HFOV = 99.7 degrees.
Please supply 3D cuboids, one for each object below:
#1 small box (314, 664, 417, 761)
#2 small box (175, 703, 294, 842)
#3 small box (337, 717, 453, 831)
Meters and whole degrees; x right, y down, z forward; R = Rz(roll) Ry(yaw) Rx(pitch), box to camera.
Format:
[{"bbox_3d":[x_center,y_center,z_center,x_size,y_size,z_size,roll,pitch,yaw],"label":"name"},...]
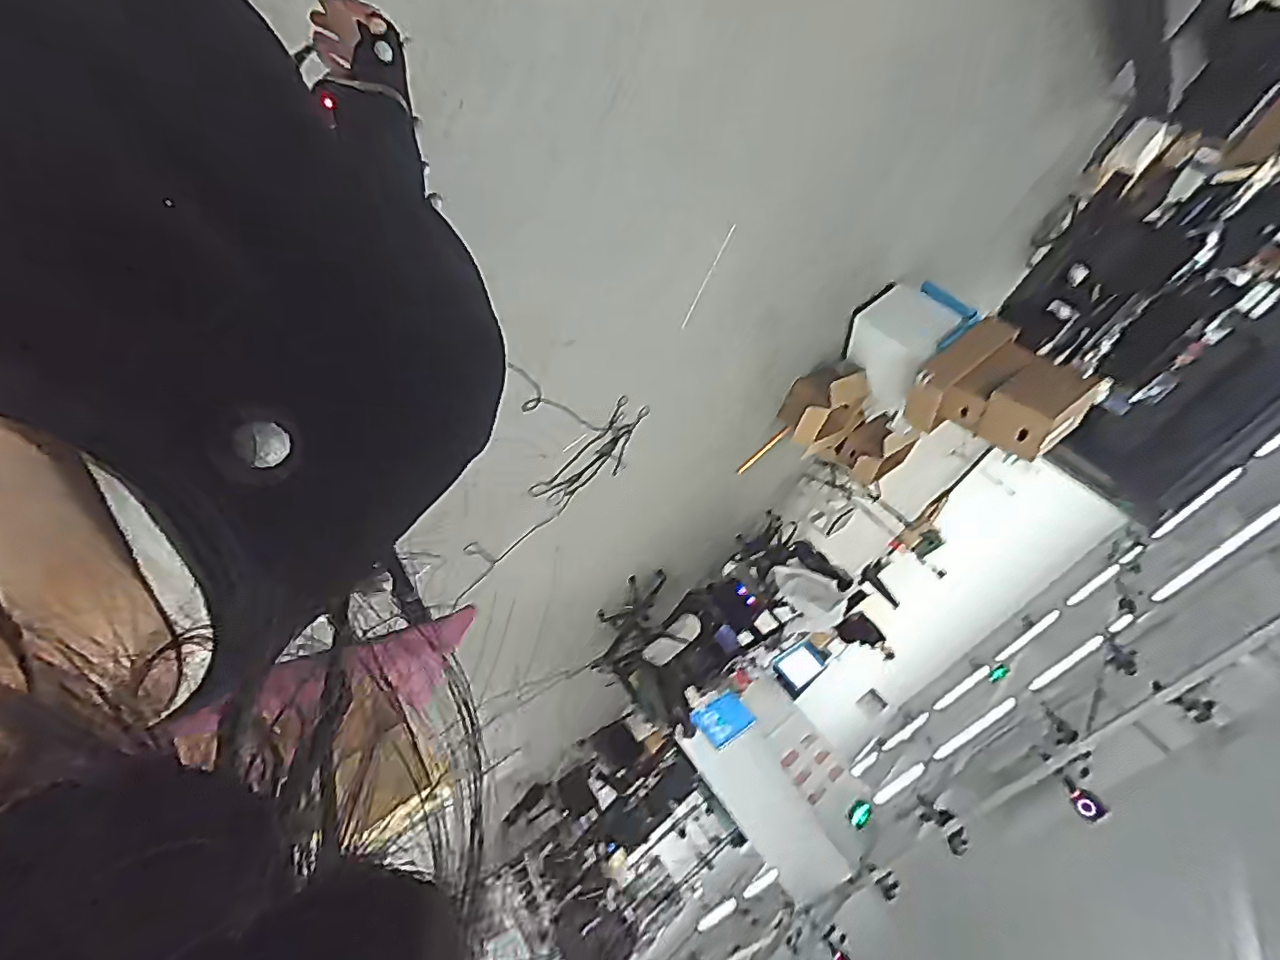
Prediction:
[{"bbox_3d":[-0.686,0.599,1.368,0.179,0.176,0.168,-26,148,-28],"label":"small box"},{"bbox_3d":[-0.872,0.616,1.158,0.168,0.176,0.179,-6,136,-50],"label":"small box"},{"bbox_3d":[-0.580,0.695,1.285,0.179,0.176,0.168,-31,150,-17],"label":"small box"}]
